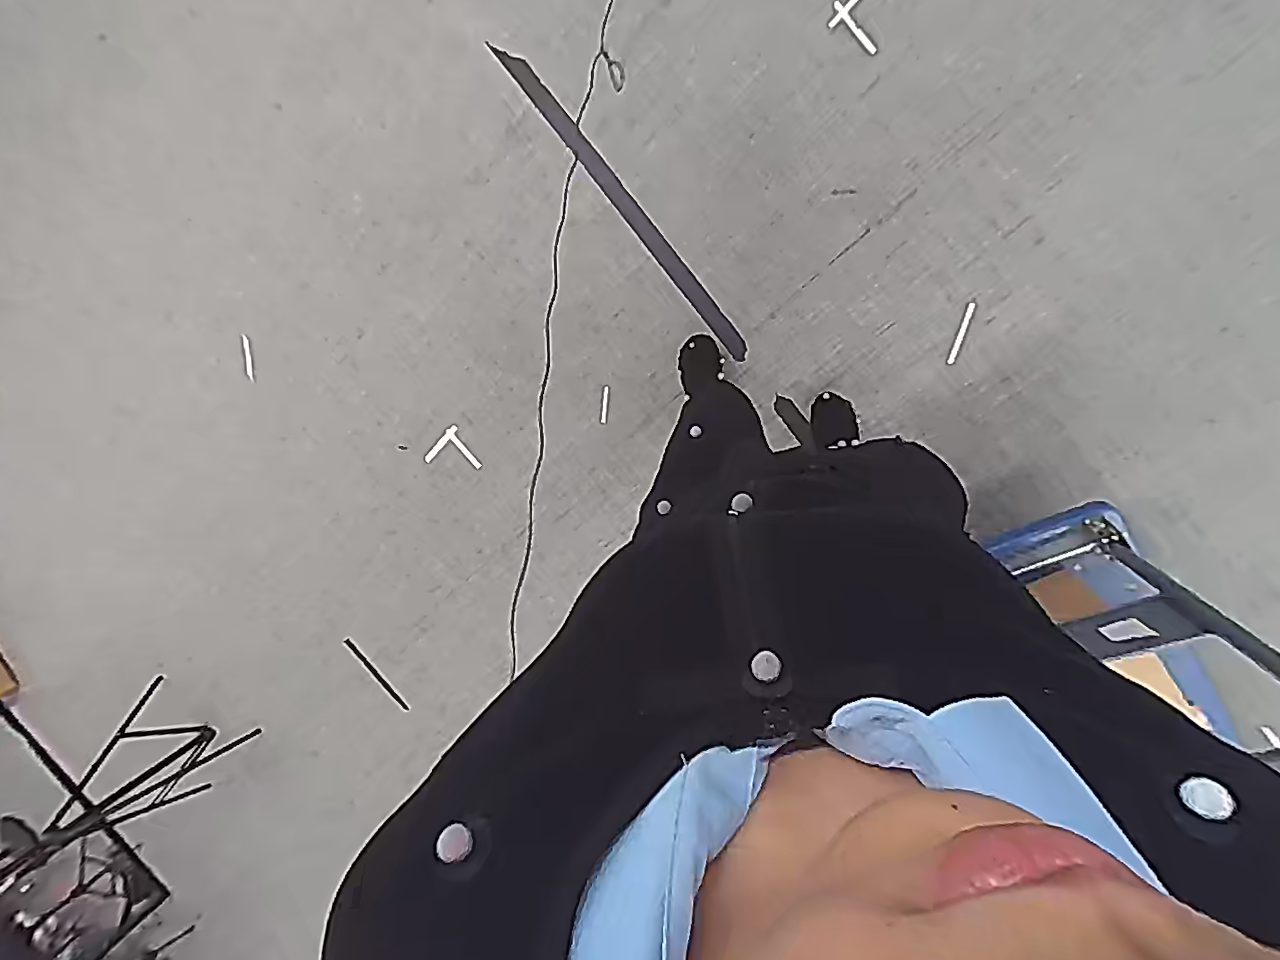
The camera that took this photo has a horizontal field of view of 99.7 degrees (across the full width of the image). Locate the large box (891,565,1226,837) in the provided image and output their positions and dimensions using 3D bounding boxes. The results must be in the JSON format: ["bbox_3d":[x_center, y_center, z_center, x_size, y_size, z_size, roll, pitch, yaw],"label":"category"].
[{"bbox_3d":[0.803,0.442,1.118,0.408,0.320,0.320,-33,92,24],"label":"large box"}]
